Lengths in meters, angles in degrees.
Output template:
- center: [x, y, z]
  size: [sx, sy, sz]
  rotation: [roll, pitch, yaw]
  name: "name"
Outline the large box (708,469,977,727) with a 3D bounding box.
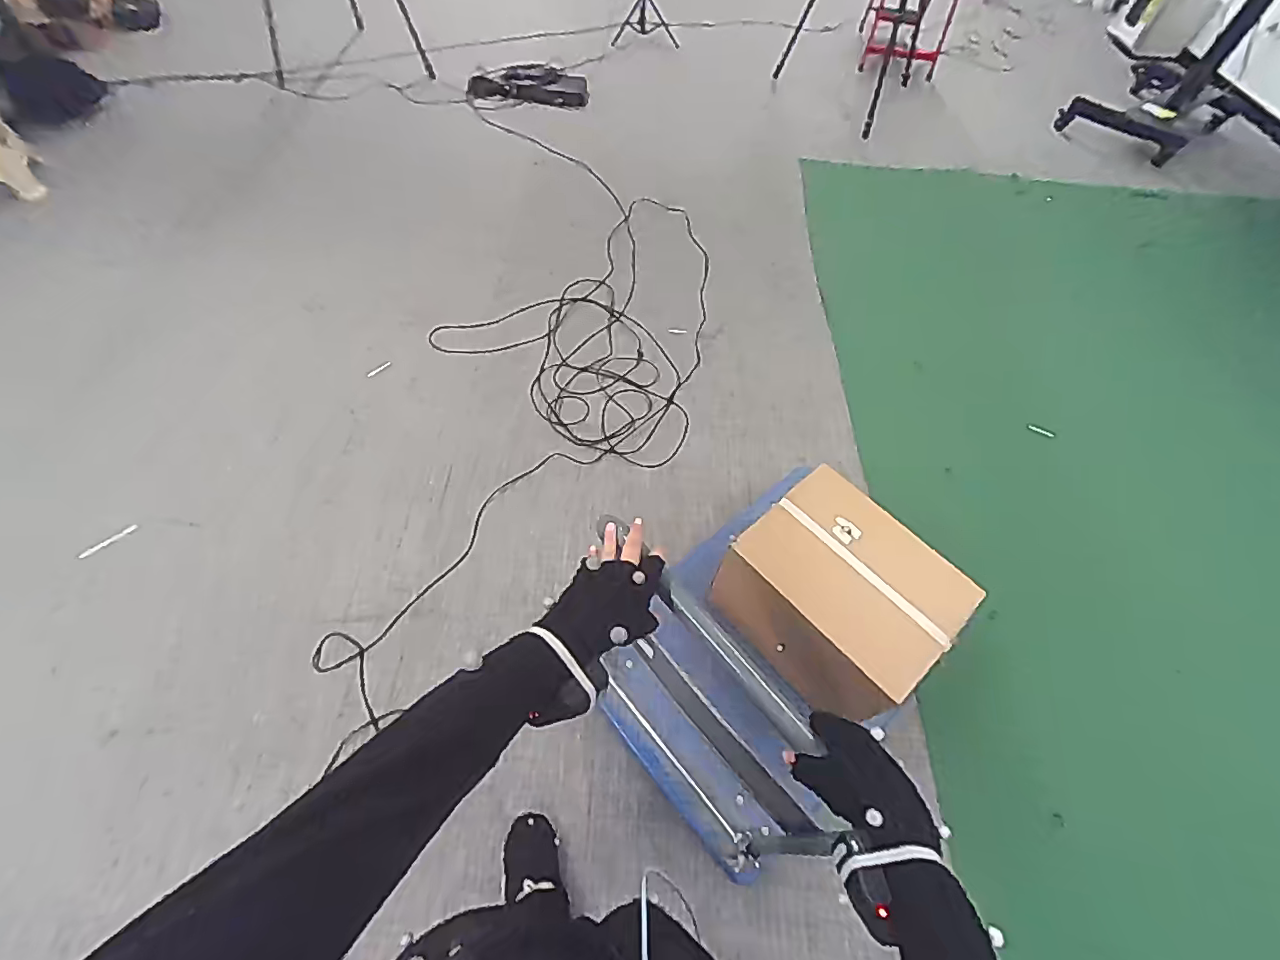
- center: [0.415, 0.262, 1.199]
  size: [0.320, 0.320, 0.408]
  rotation: [-36, 66, -24]
  name: "large box"
